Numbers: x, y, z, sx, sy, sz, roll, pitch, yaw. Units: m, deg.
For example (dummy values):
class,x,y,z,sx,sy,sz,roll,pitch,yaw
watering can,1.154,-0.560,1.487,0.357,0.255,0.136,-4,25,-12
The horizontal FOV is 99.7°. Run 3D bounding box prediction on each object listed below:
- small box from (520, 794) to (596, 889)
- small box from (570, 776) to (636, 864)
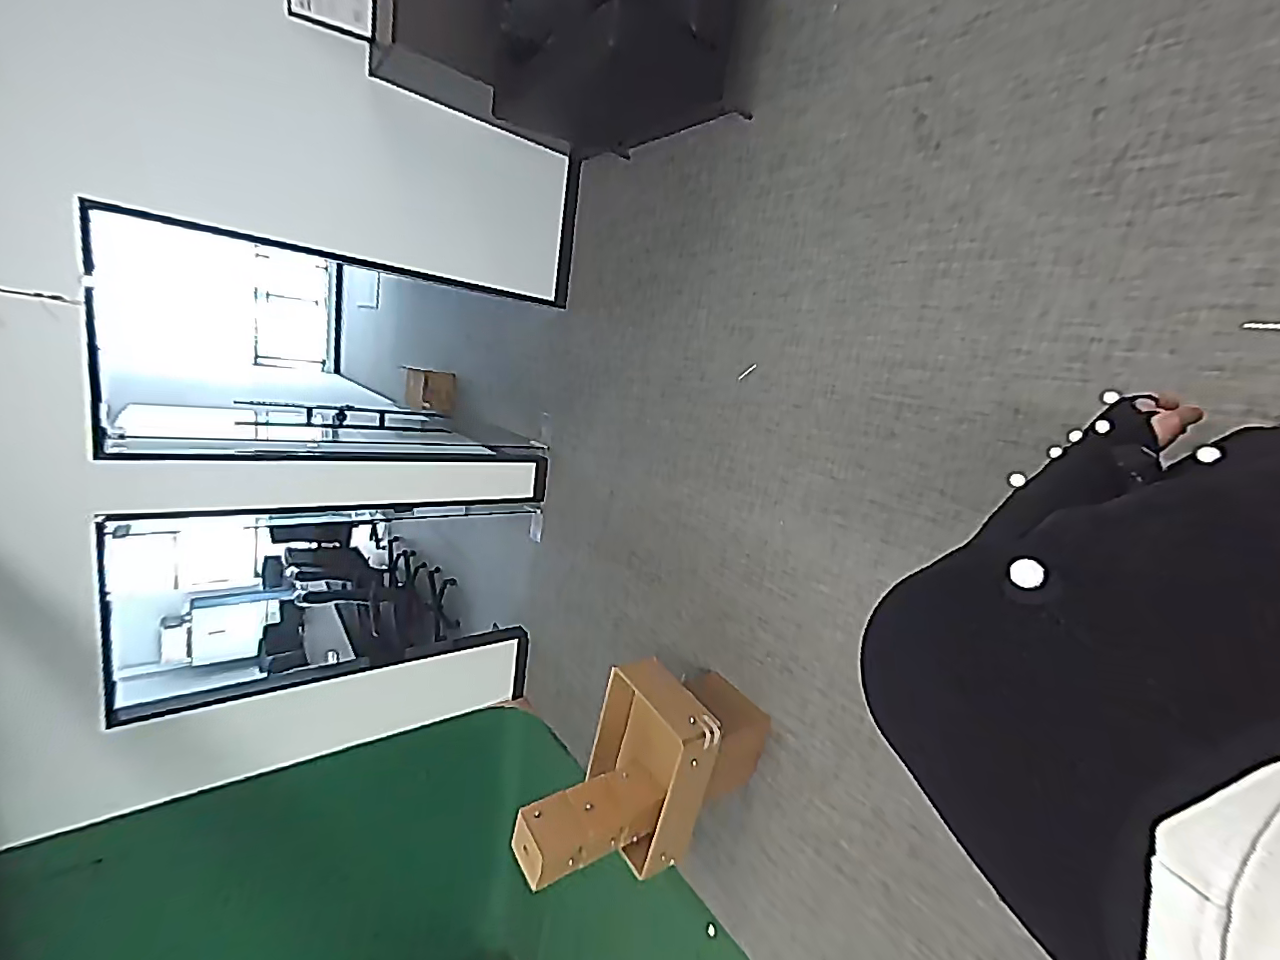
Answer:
class,x,y,z,sx,sy,sz,roll,pitch,yaw
small box,-0.270,1.167,1.768,0.179,0.176,0.168,34,118,44
small box,-0.140,1.162,1.870,0.179,0.176,0.168,33,116,44
